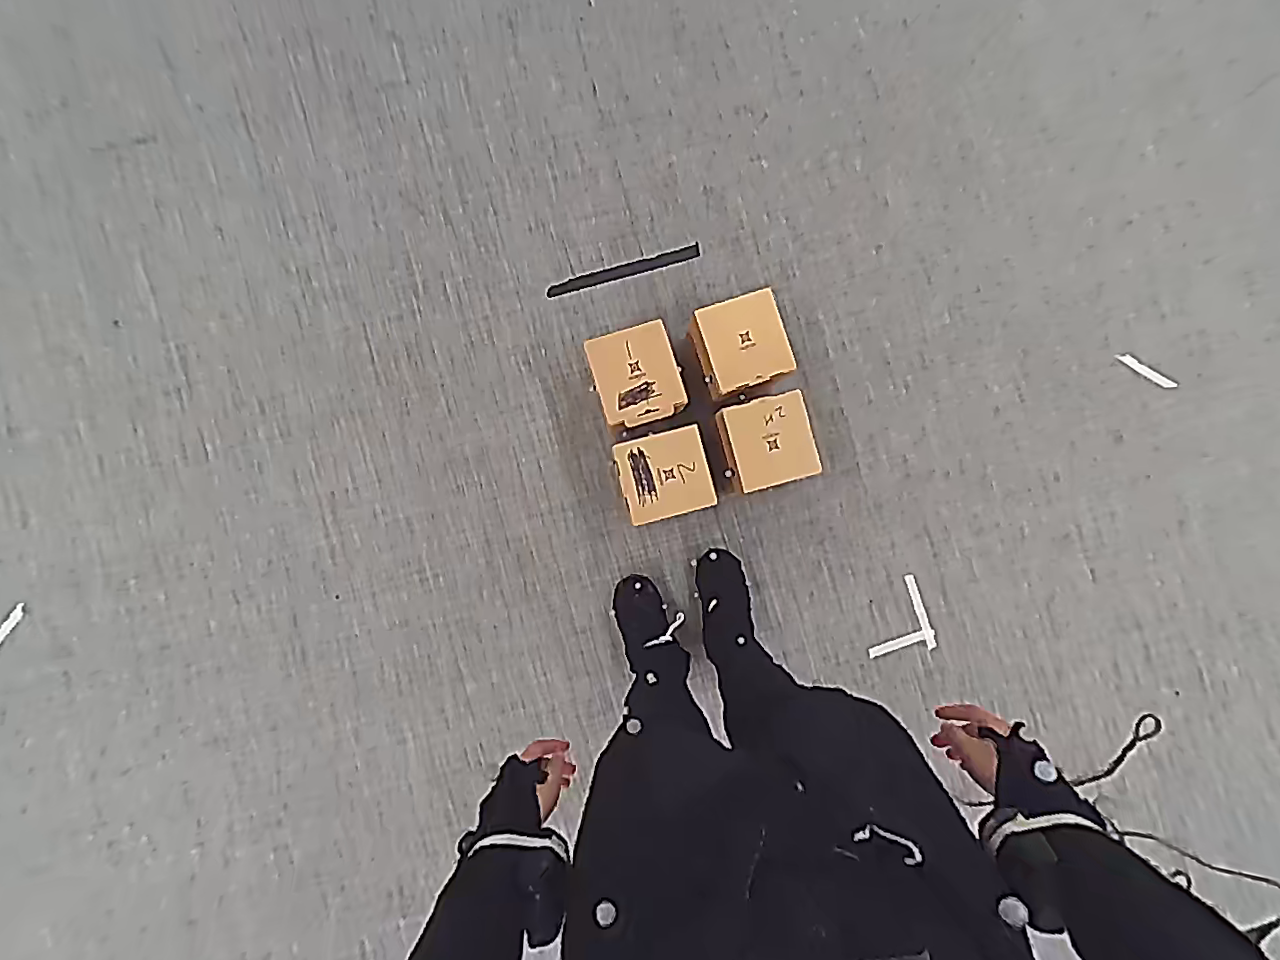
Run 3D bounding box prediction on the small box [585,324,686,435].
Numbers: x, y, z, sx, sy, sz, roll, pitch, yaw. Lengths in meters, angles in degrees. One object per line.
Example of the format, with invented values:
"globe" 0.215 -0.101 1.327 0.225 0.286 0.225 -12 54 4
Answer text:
"small box" -0.011 -0.200 1.140 0.168 0.176 0.179 -17 86 -4
